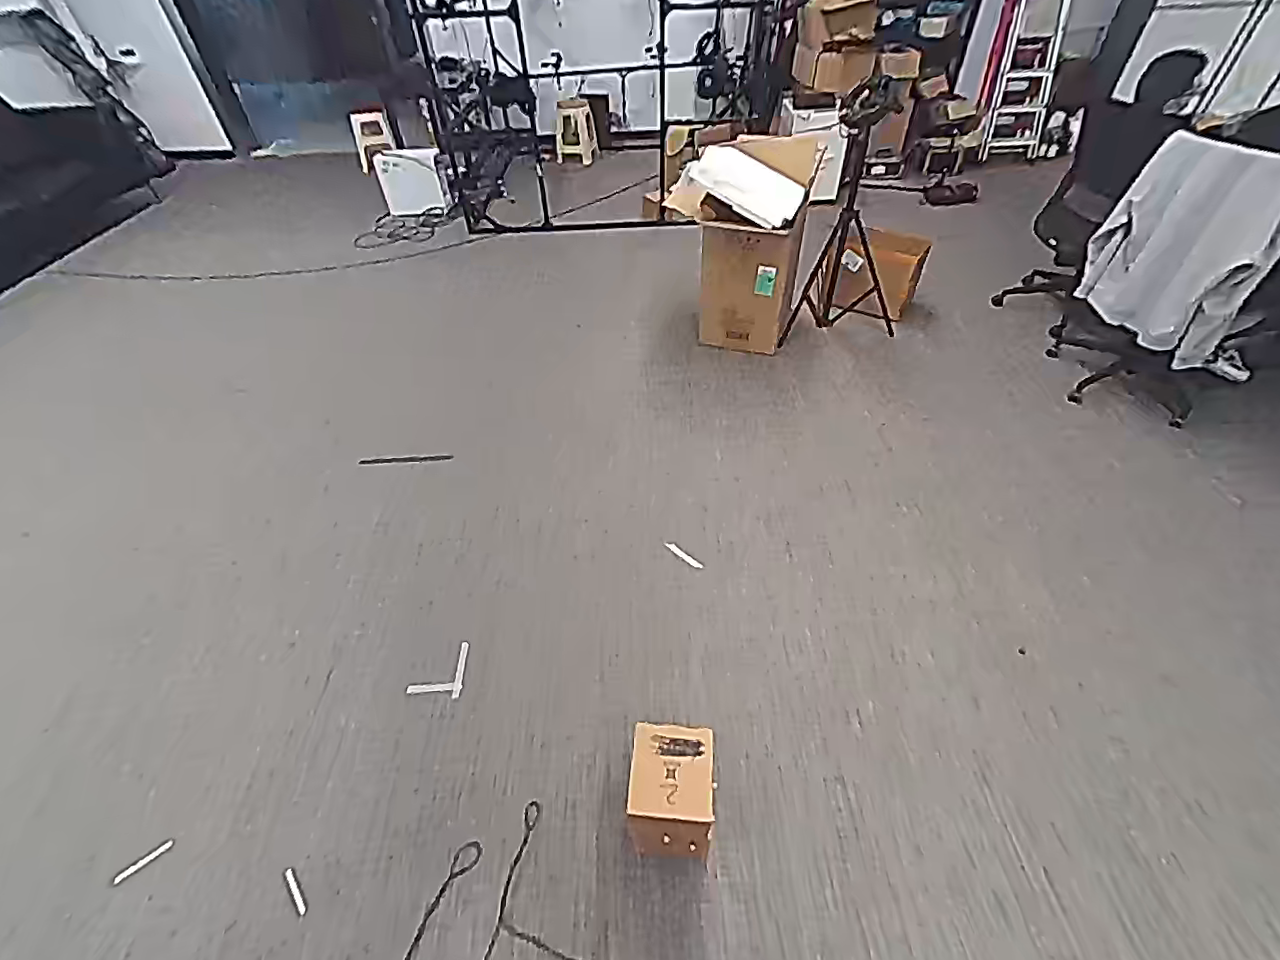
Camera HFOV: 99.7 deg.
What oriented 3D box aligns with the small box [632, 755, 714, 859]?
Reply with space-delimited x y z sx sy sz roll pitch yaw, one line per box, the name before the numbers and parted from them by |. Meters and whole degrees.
small box | 0.080 0.762 1.256 0.179 0.176 0.168 2 44 5
